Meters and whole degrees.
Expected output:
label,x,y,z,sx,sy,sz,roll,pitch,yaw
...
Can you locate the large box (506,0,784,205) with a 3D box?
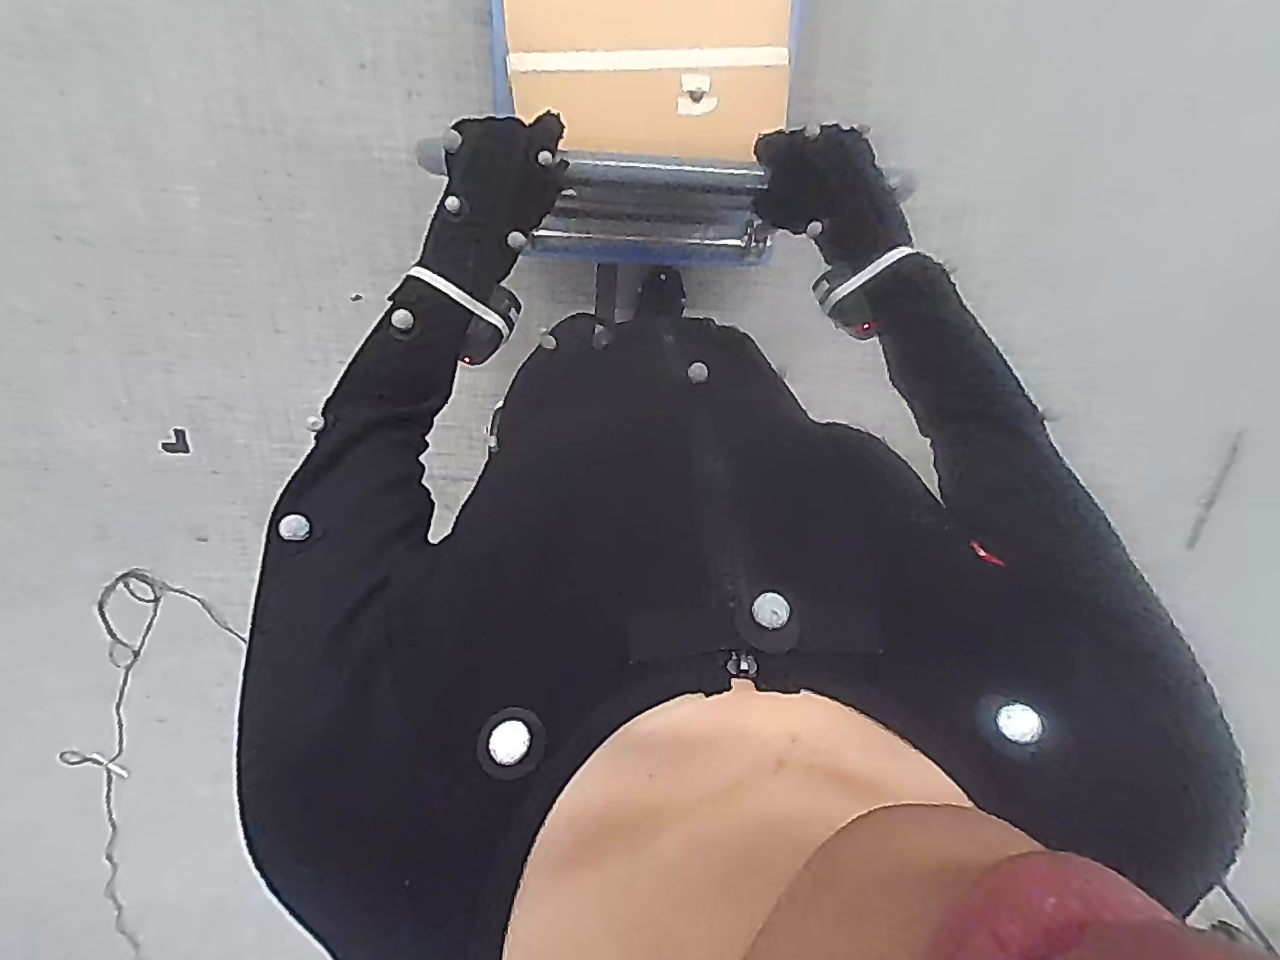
label,x,y,z,sx,sy,sz,roll,pitch,yaw
large box,0.003,-0.672,0.933,0.408,0.320,0.320,-3,111,-3
